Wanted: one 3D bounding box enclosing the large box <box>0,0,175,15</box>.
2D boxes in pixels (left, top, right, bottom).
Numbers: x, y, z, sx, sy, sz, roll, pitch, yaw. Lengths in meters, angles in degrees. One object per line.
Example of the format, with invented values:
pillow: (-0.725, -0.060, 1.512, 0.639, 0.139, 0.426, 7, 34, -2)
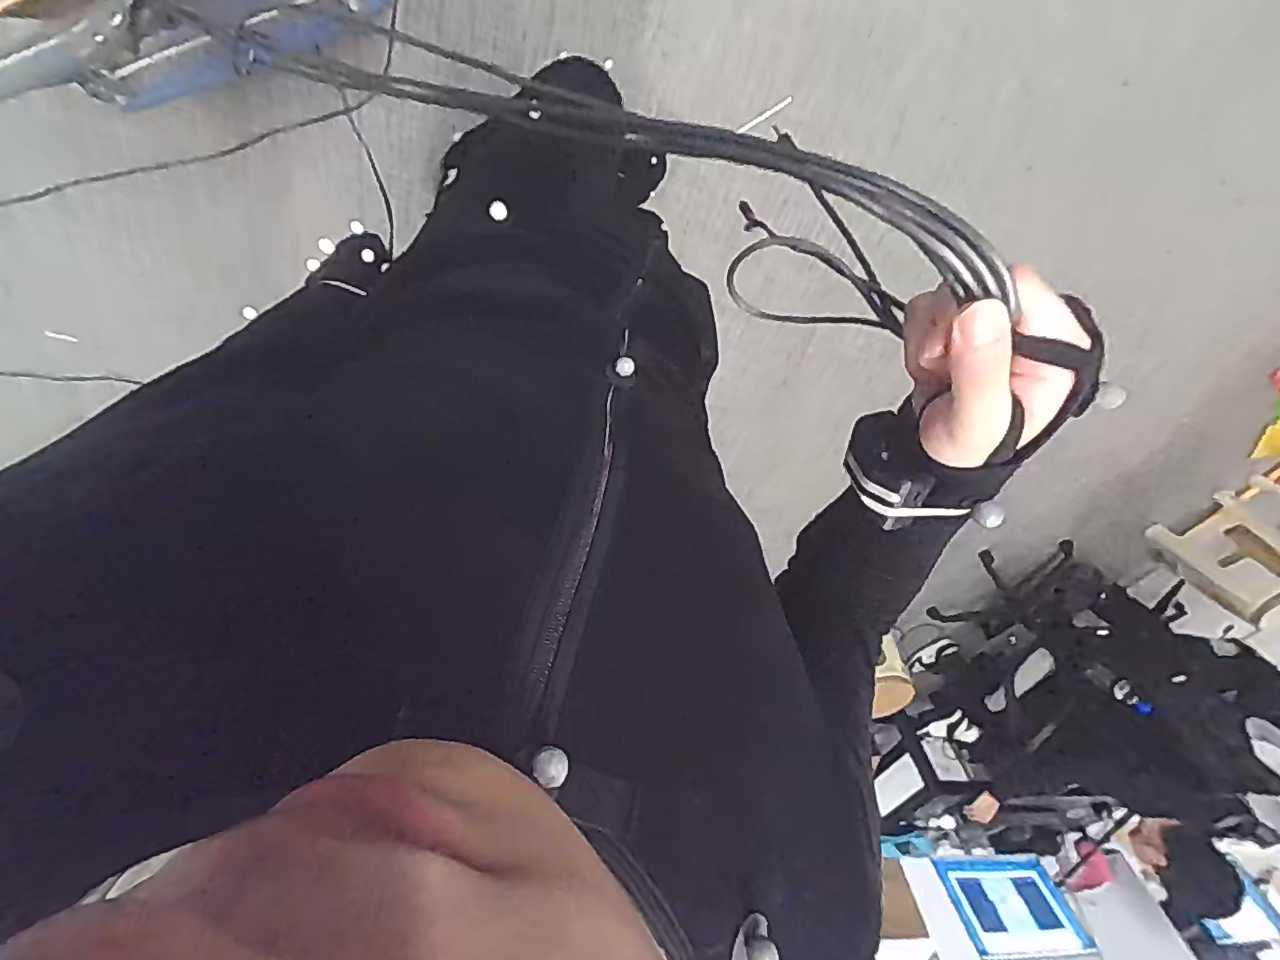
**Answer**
large box: (-0.759, -0.893, 0.675, 0.320, 0.320, 0.408, -17, 128, 6)
